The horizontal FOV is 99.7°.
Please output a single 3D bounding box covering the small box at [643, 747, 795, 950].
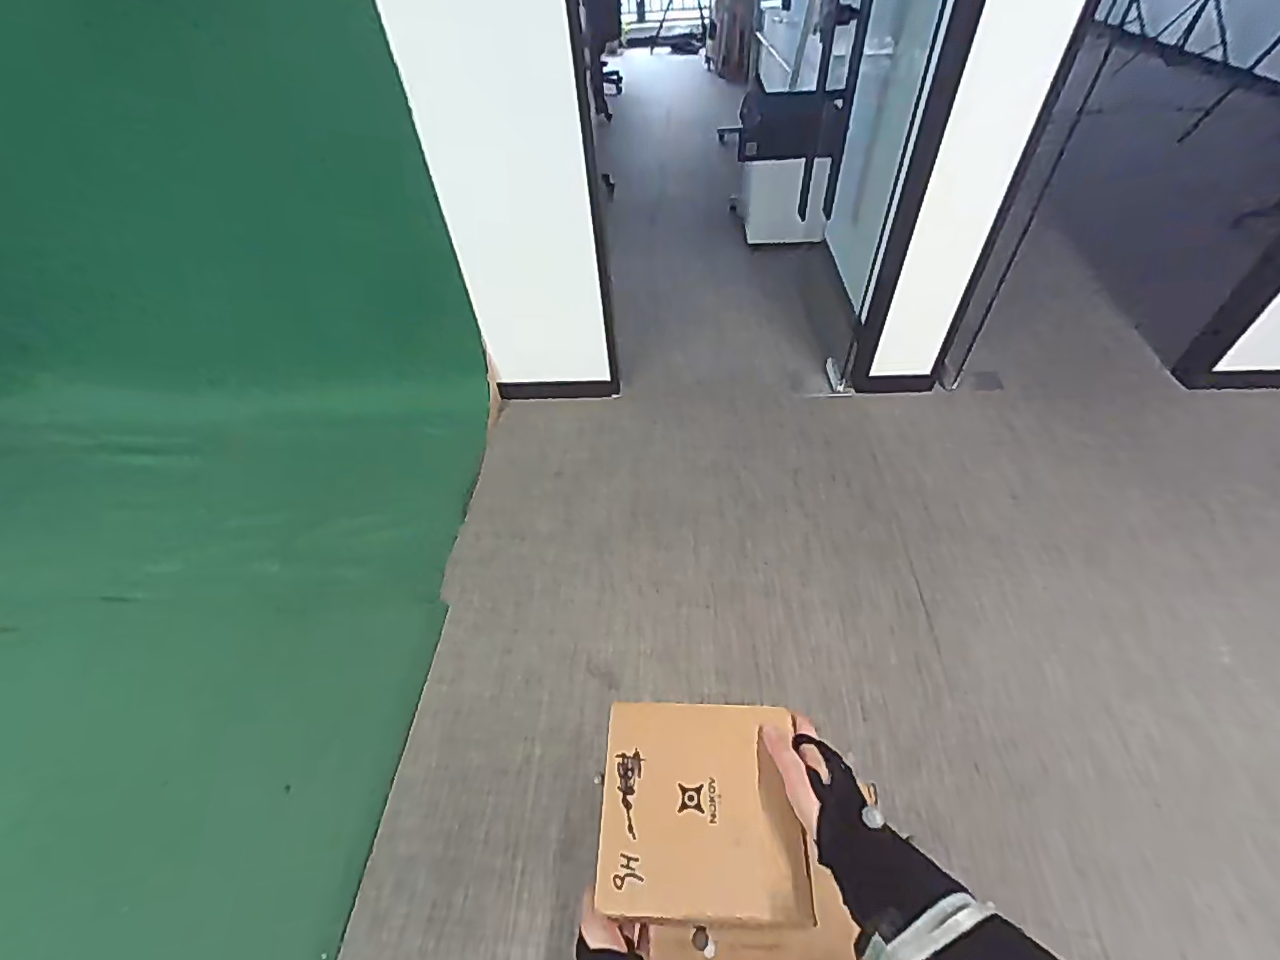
[{"bbox_3d":[0.096,0.468,0.690,0.168,0.176,0.179,1,45,7],"label":"small box"}]
